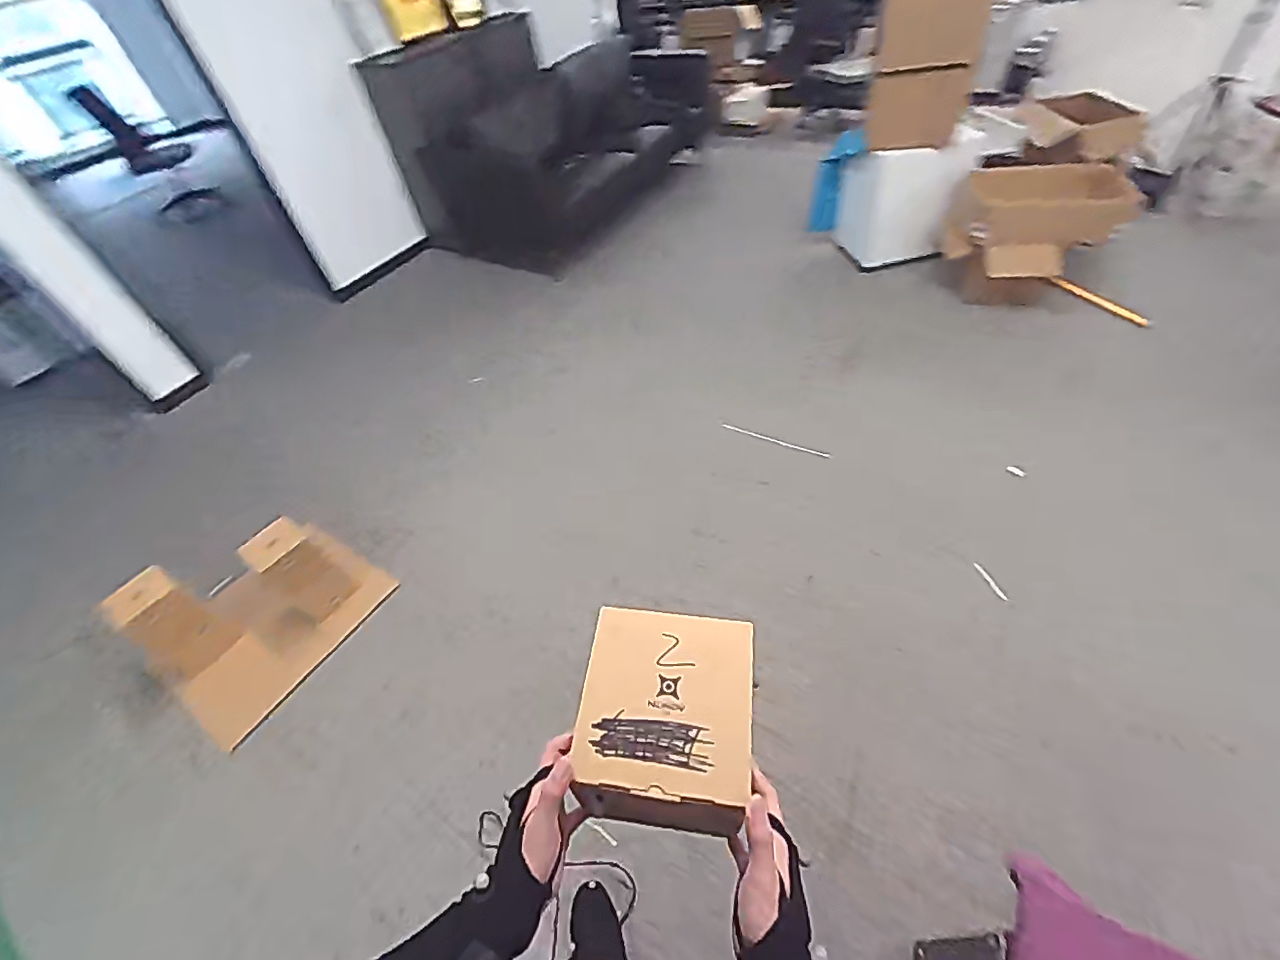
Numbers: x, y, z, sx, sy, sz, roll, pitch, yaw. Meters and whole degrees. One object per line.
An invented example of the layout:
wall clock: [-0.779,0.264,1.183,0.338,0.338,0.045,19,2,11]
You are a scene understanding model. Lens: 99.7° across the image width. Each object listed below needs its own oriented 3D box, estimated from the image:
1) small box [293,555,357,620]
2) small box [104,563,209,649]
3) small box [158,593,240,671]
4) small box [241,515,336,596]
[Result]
small box: [-1.152,0.365,1.940,0.168,0.176,0.179,25,57,28]
small box: [-1.544,0.409,1.743,0.168,0.176,0.179,24,57,27]
small box: [-1.528,0.520,1.860,0.168,0.176,0.179,24,57,28]
small box: [-1.176,0.257,1.820,0.168,0.176,0.179,28,59,29]
